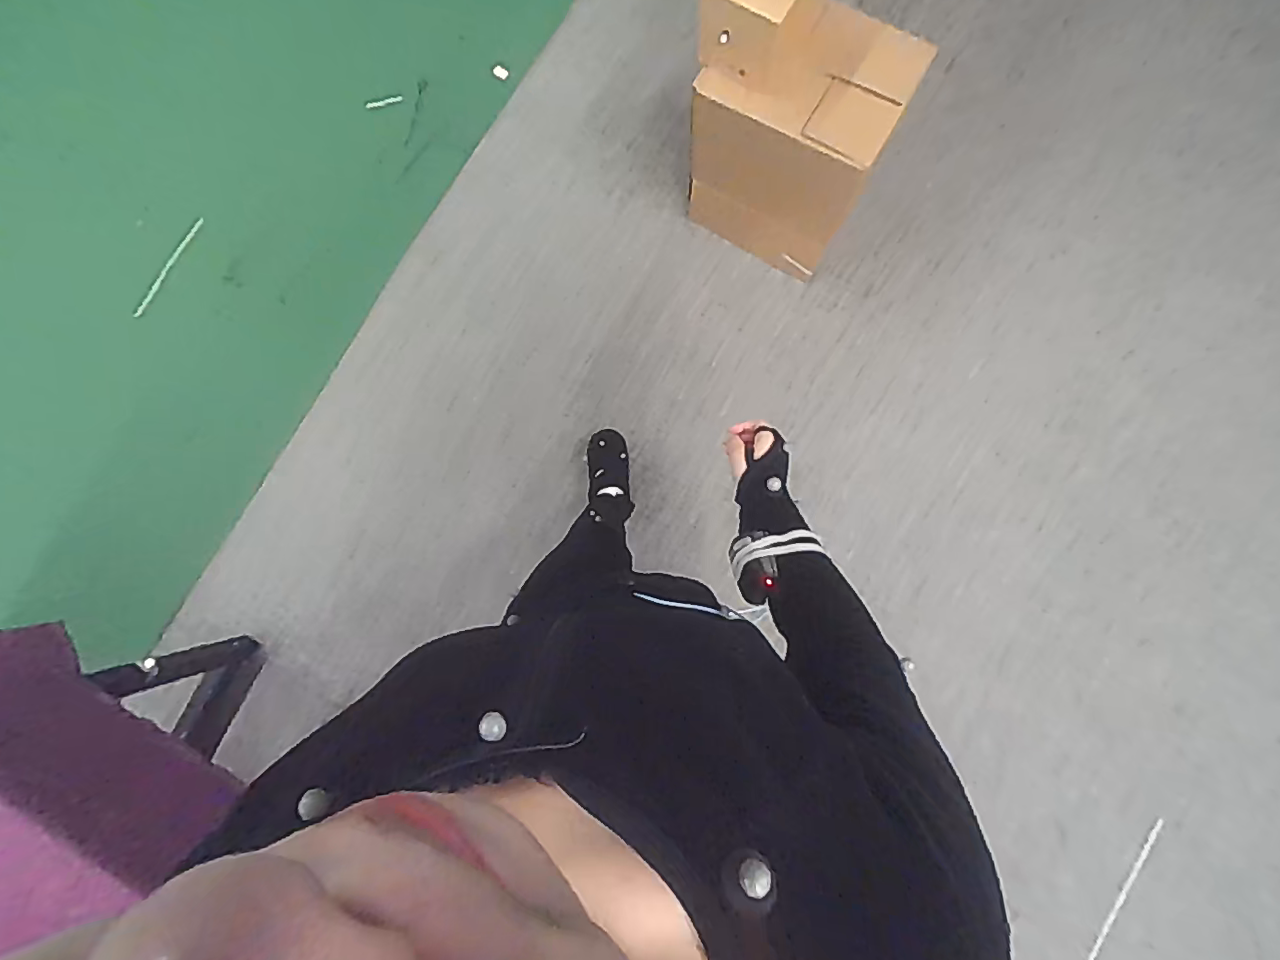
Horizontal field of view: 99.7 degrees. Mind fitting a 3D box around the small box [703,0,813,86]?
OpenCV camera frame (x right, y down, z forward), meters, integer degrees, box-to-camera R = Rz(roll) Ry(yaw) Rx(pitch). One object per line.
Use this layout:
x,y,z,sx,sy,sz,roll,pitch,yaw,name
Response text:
0.231,-0.918,1.039,0.168,0.176,0.179,32,88,4,small box
